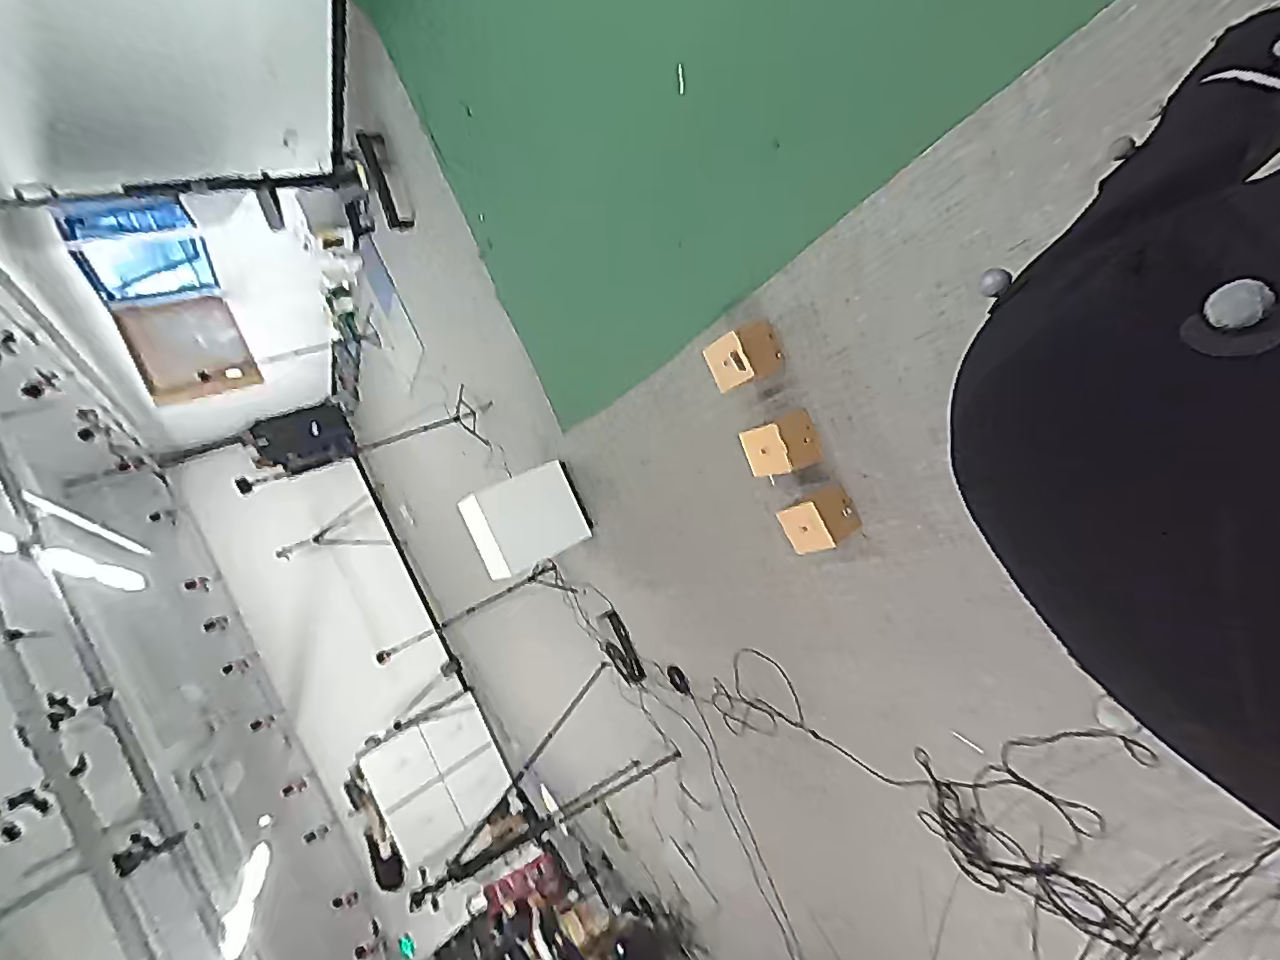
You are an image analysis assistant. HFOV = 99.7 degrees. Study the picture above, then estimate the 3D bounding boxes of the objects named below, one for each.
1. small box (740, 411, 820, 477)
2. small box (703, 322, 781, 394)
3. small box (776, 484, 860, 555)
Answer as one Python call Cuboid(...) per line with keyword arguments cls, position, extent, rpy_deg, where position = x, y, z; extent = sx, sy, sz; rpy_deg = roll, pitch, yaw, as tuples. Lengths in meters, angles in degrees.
Cuboid(cls="small box", position=(0.480, -0.121, 1.848), extent=(0.179, 0.176, 0.168), rpy_deg=(-15, 99, 56))
Cuboid(cls="small box", position=(0.354, -0.414, 1.833), extent=(0.179, 0.176, 0.168), rpy_deg=(-23, 91, 58))
Cuboid(cls="small box", position=(0.607, 0.134, 1.836), extent=(0.179, 0.176, 0.168), rpy_deg=(-31, 87, 55))
